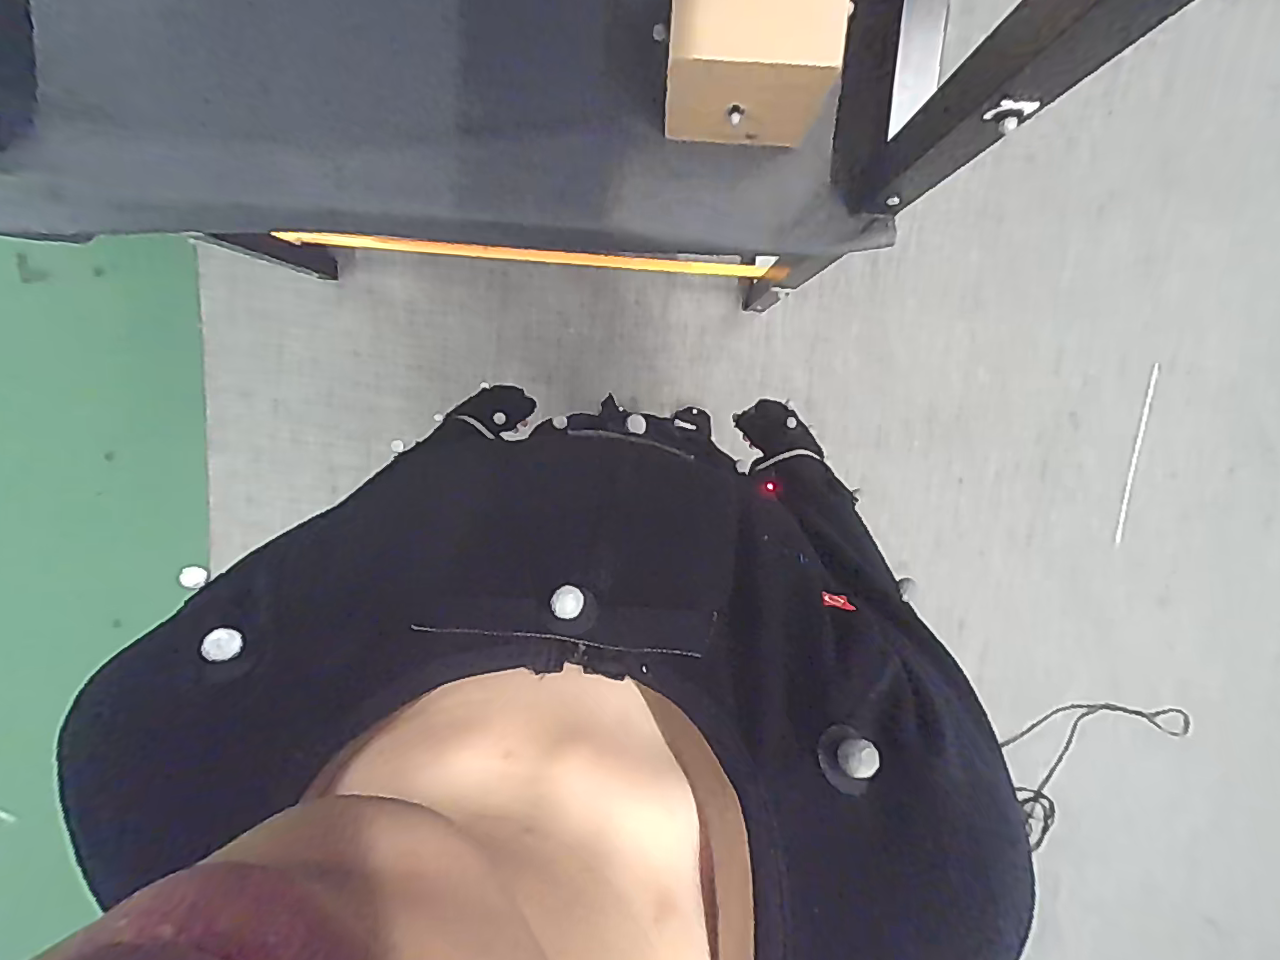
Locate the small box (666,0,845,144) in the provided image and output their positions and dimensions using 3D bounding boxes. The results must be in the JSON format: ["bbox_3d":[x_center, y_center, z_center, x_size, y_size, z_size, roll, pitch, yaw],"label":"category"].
[{"bbox_3d":[0.116,-0.492,0.582,0.168,0.176,0.179,4,99,0],"label":"small box"}]
